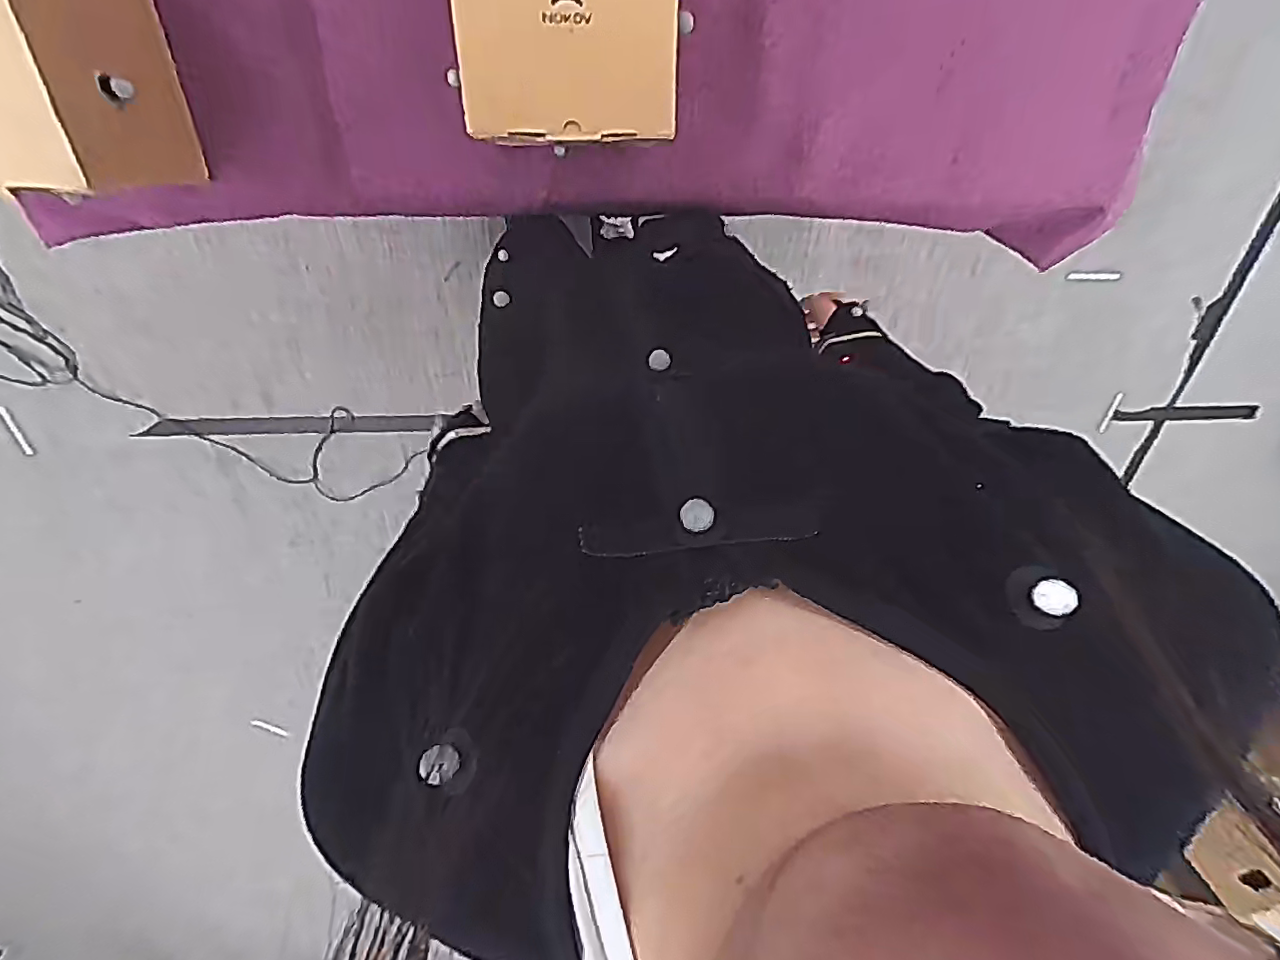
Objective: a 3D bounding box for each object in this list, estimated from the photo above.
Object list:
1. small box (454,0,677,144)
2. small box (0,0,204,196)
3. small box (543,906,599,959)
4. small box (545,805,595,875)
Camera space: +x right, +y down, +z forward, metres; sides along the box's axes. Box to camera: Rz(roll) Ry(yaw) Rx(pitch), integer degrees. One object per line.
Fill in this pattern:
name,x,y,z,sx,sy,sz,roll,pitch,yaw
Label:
small box,-0.062,-0.392,0.459,0.168,0.176,0.179,-3,122,-5
small box,-0.507,-0.338,0.436,0.168,0.176,0.179,-1,122,-7
small box,-0.227,1.533,1.770,0.179,0.176,0.168,0,122,-7
small box,-0.264,1.359,2.047,0.179,0.176,0.168,-2,121,-5
